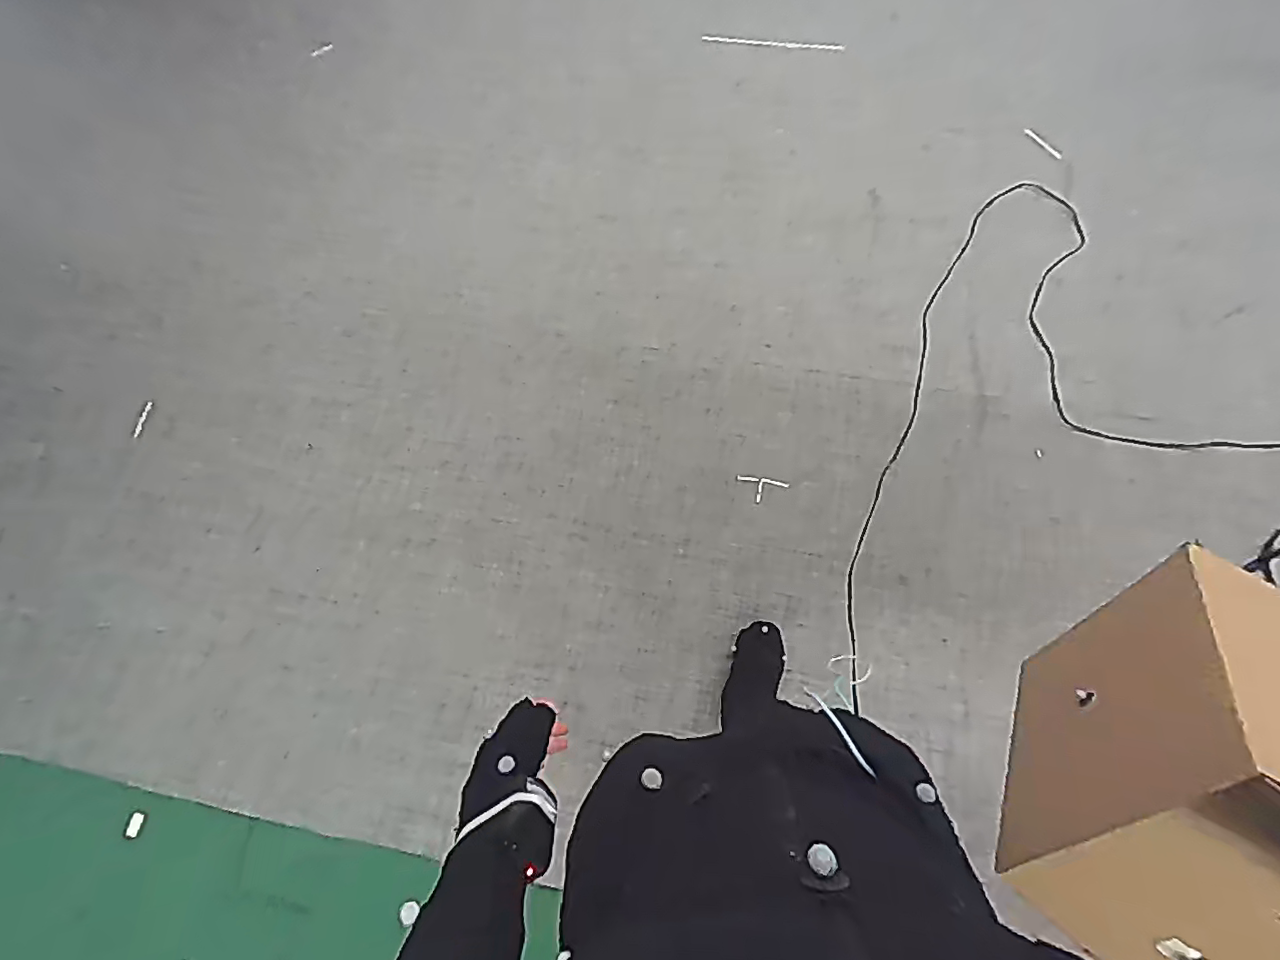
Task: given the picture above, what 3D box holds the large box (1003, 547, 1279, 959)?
[{"bbox_3d":[0.689,0.362,0.635,0.320,0.320,0.408,37,41,17],"label":"large box"}]
